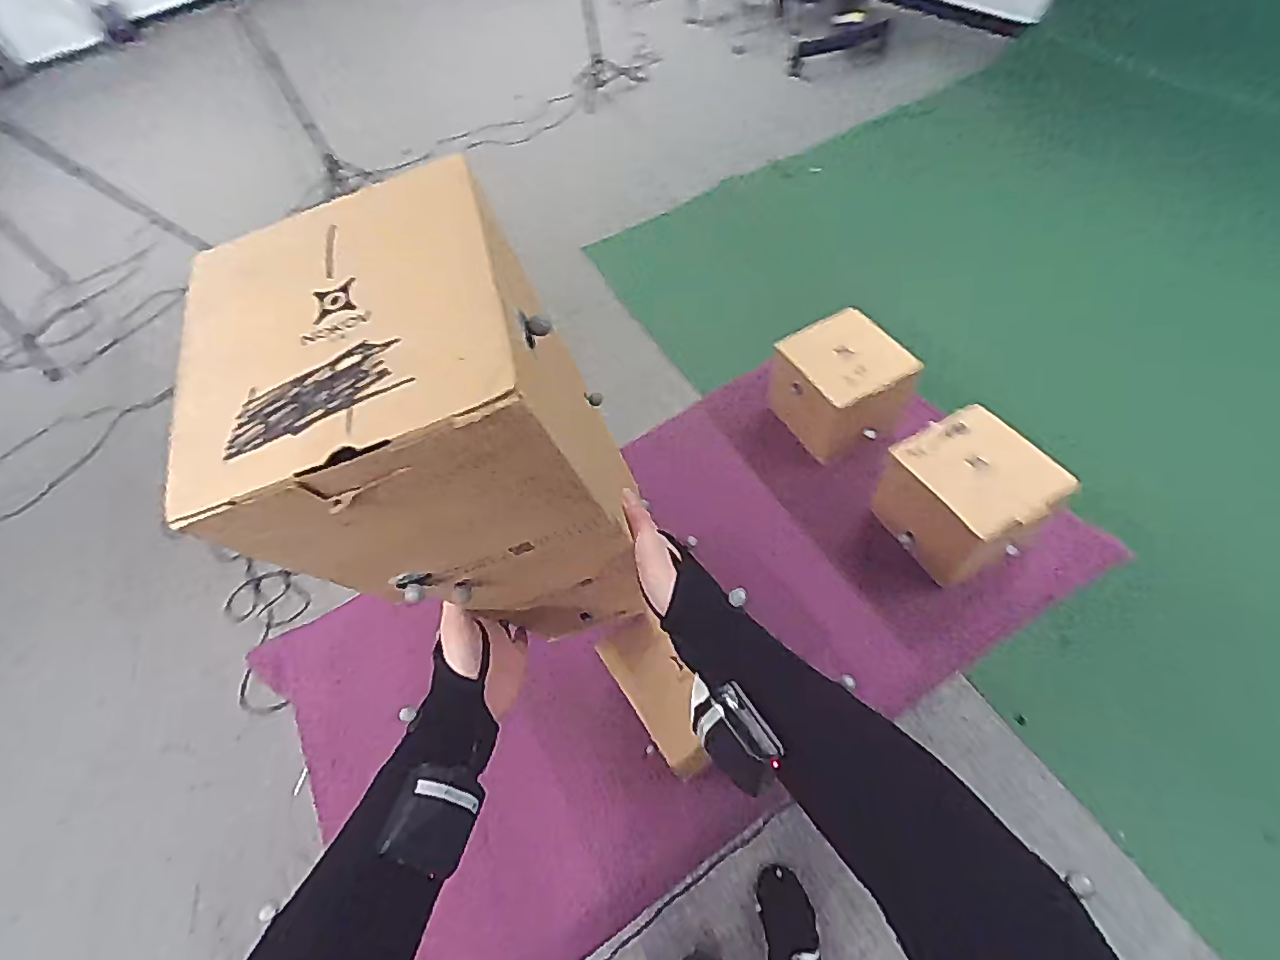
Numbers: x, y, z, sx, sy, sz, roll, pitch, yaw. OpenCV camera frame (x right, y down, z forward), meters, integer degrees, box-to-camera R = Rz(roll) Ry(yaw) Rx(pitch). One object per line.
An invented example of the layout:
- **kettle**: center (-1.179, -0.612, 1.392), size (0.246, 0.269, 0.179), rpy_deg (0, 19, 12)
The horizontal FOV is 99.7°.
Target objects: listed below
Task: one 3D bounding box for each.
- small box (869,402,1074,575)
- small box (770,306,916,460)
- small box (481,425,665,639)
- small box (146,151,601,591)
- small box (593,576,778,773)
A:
- **small box**: center (0.479, 0.022, 0.814), size (0.168, 0.176, 0.179), rpy_deg (-27, 56, -7)
- **small box**: center (0.345, -0.169, 0.962), size (0.168, 0.176, 0.179), rpy_deg (-27, 57, -7)
- **small box**: center (-0.077, 0.069, 0.631), size (0.168, 0.176, 0.179), rpy_deg (-18, 64, 3)
- **small box**: center (-0.135, -0.043, 0.327), size (0.168, 0.176, 0.179), rpy_deg (-20, 63, 4)
- **small box**: center (0.064, 0.269, 0.729), size (0.168, 0.176, 0.179), rpy_deg (-33, 57, -13)
